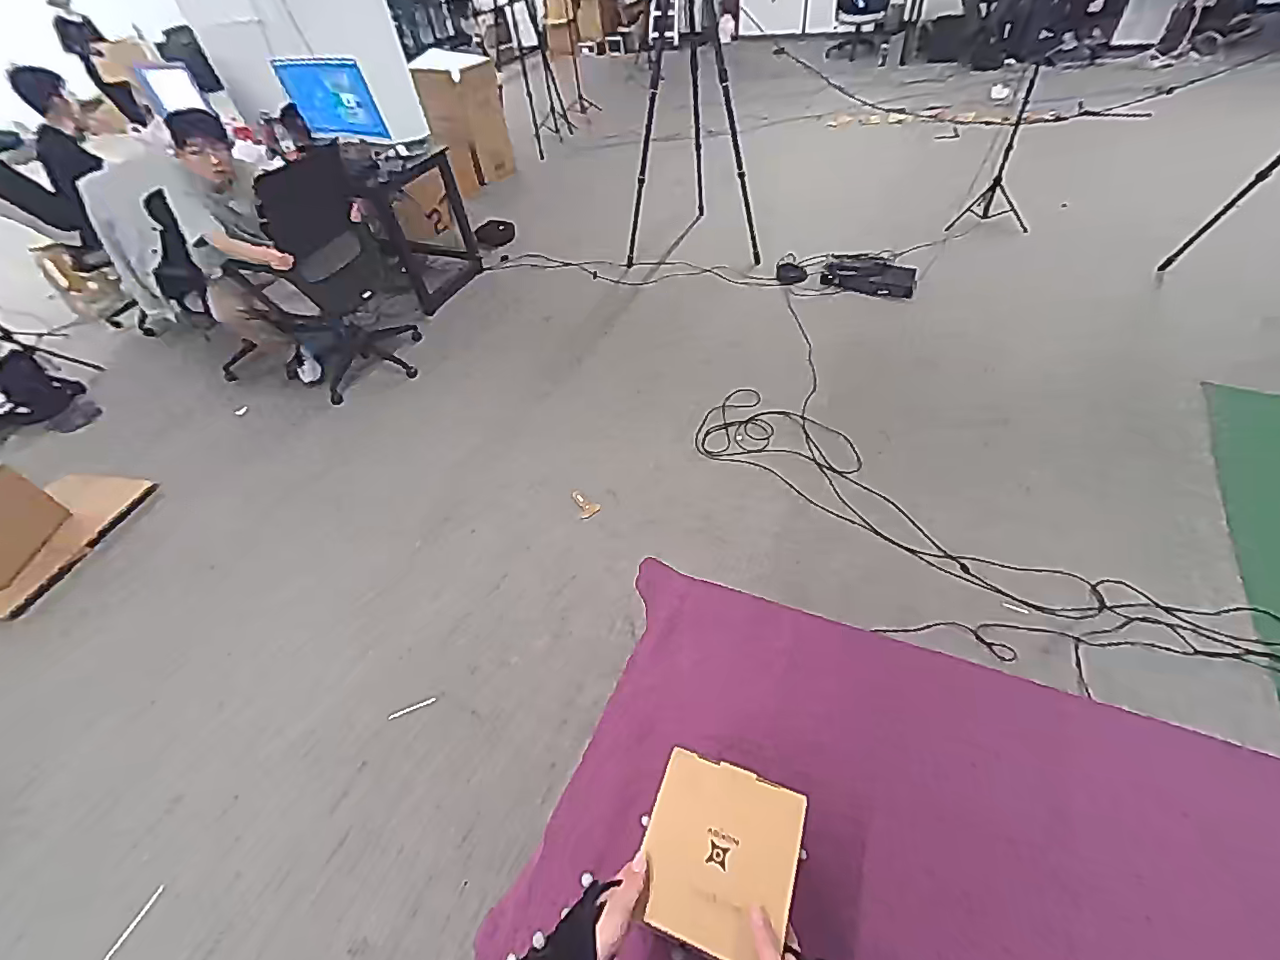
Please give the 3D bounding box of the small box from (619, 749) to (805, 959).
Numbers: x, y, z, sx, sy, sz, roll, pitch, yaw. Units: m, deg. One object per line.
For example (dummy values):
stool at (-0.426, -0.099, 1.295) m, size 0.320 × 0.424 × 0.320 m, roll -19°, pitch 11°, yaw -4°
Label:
small box at (0.089, 0.464, 0.648) m, size 0.168 × 0.176 × 0.179 m, roll 13°, pitch 50°, yaw 18°
